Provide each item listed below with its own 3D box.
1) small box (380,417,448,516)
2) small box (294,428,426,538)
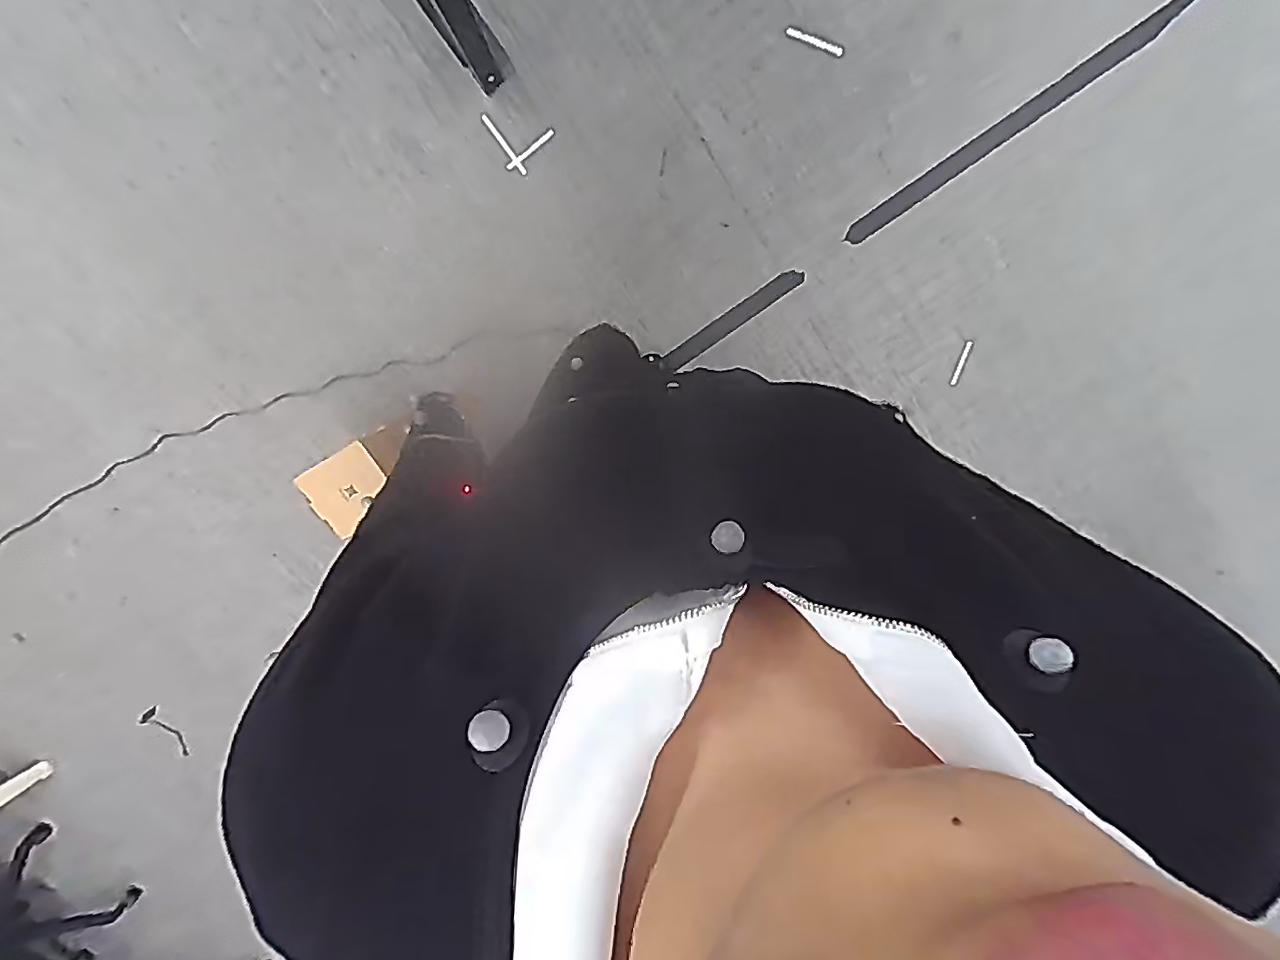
[{"bbox_3d":[-0.627,-0.042,1.390,0.168,0.176,0.179,-34,105,7],"label":"small box"},{"bbox_3d":[-0.625,0.001,1.232,0.179,0.176,0.168,-30,106,5],"label":"small box"}]
